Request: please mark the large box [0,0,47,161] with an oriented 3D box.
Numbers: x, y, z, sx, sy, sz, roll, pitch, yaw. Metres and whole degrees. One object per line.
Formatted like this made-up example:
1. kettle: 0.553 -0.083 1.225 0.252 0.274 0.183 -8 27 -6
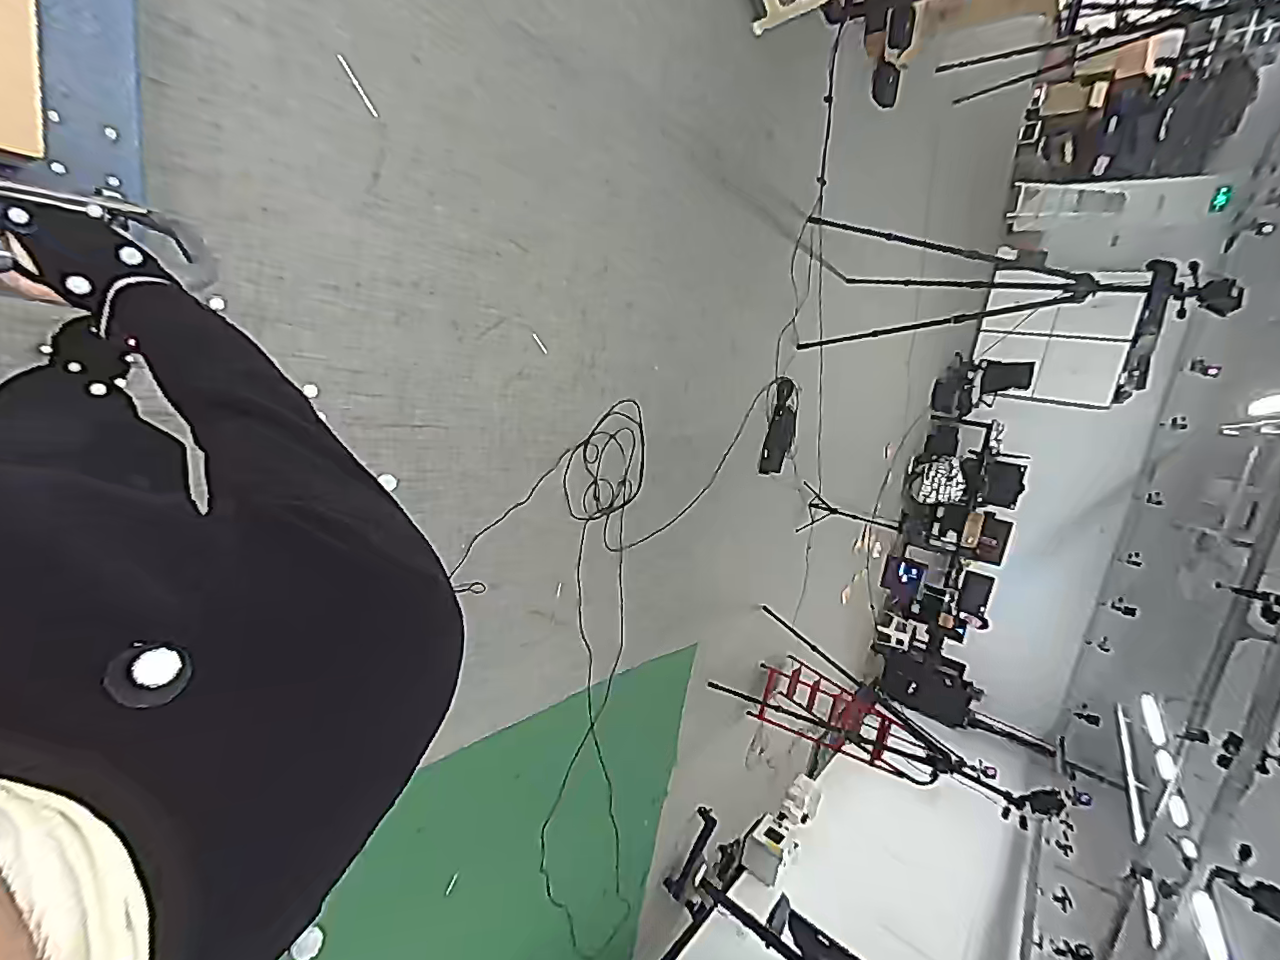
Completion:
1. large box: -0.984 -0.666 0.658 0.320 0.320 0.408 -7 112 -50
